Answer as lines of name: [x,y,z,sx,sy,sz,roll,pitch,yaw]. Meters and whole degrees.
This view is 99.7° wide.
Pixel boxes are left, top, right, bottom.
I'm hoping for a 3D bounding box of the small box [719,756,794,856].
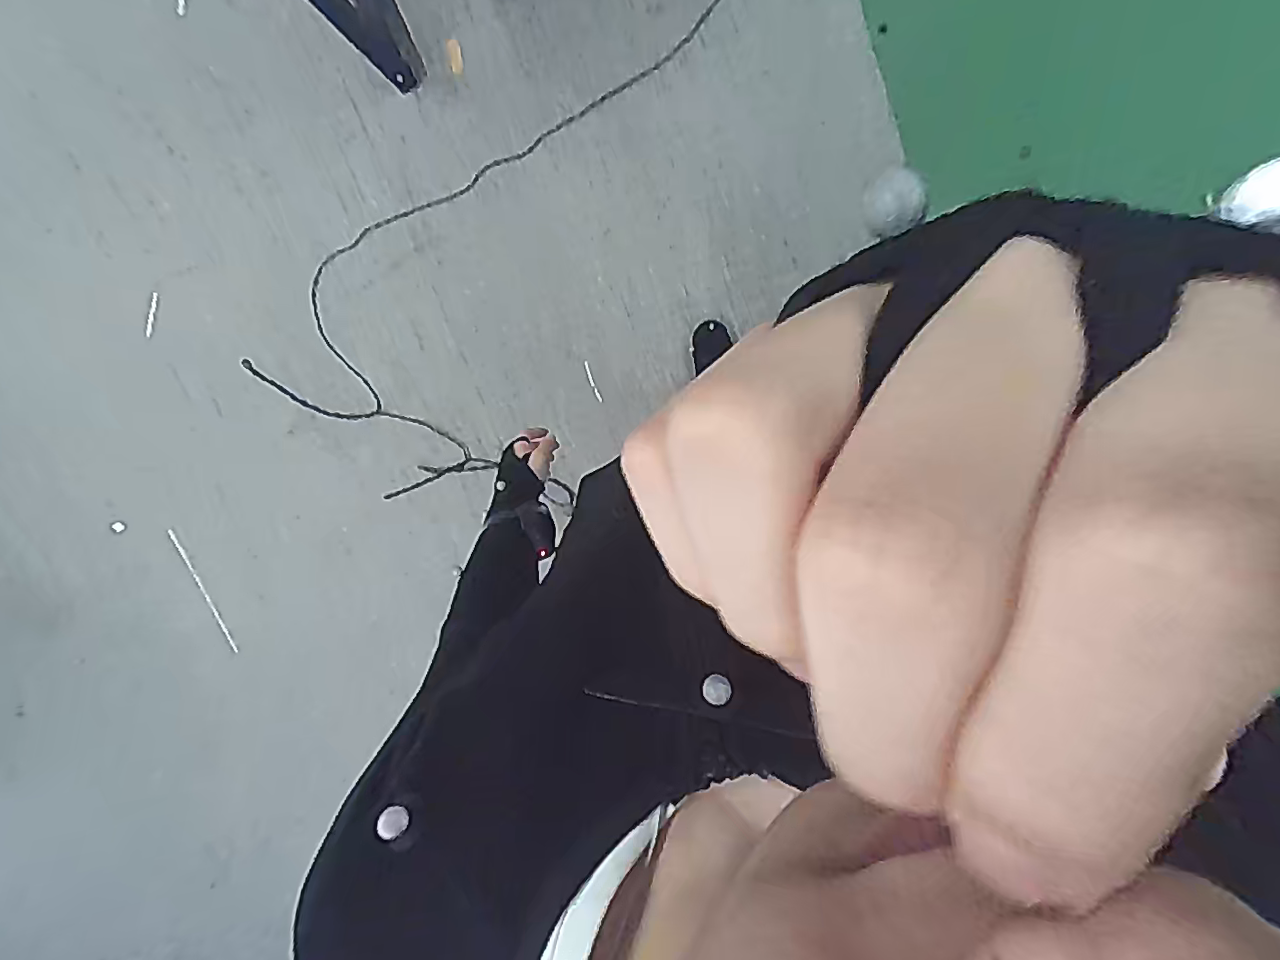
small box: [0.345,0.972,1.623,0.168,0.176,0.179,-20,96,7]
